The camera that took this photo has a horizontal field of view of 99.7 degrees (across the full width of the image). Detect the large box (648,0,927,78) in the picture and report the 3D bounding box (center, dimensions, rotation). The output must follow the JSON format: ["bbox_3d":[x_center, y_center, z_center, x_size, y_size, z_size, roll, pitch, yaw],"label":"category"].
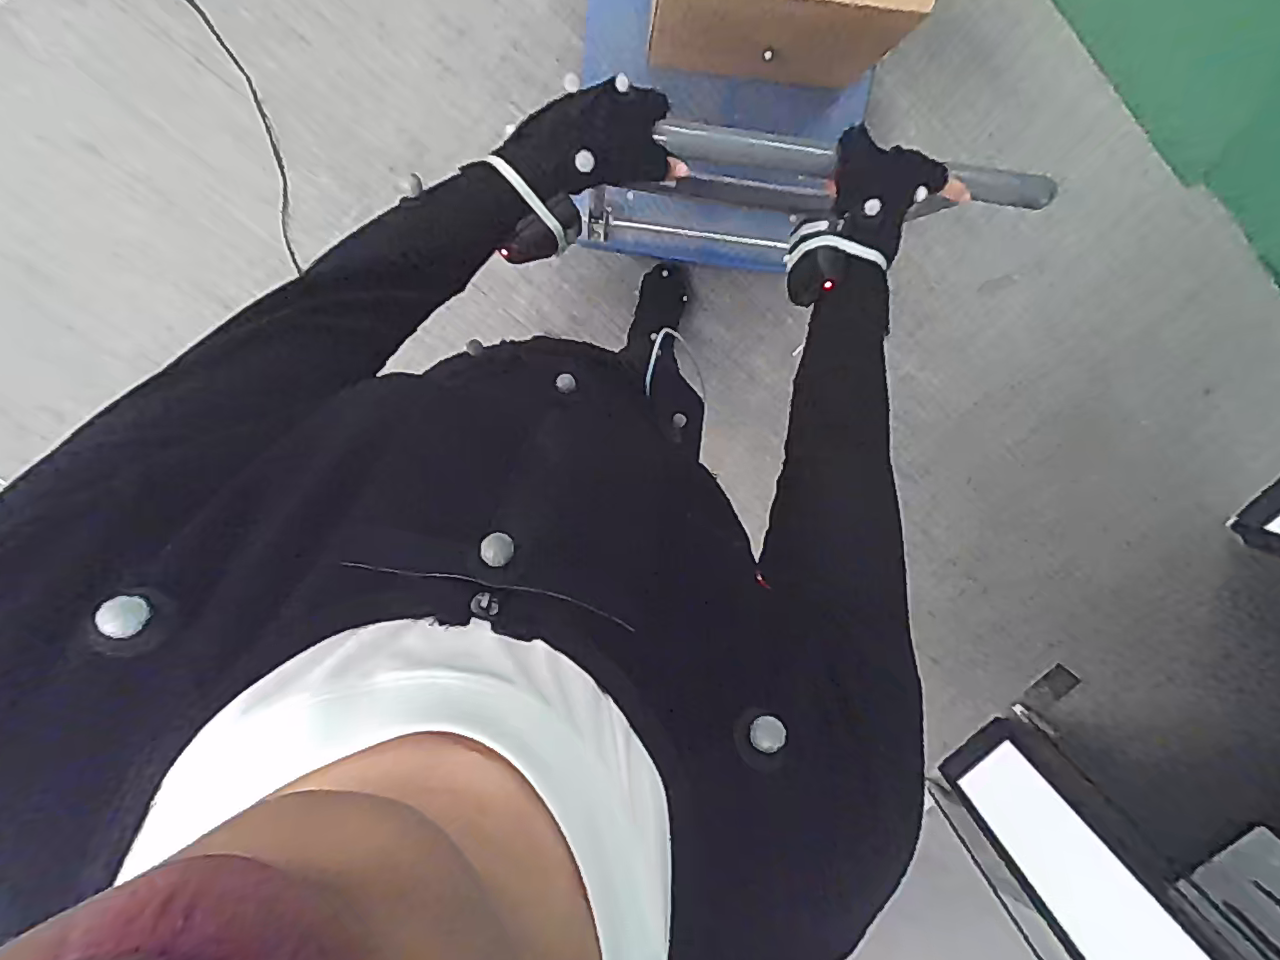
[{"bbox_3d":[0.232,-0.903,0.882,0.408,0.320,0.320,3,108,-4],"label":"large box"}]
